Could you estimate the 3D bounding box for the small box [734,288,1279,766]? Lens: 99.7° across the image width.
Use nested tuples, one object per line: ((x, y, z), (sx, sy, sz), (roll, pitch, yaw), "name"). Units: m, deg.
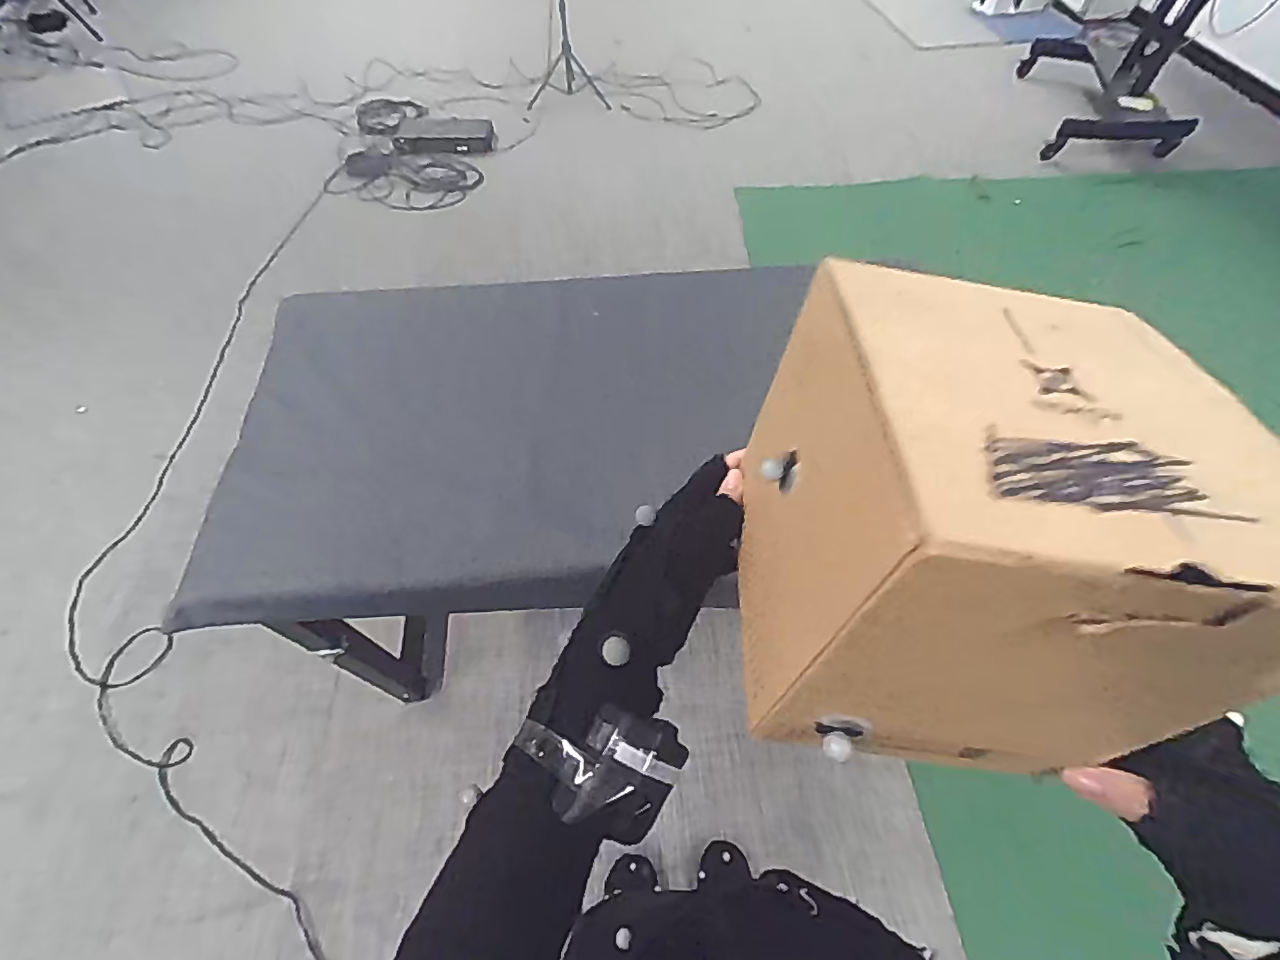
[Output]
((0.150, 0.030, 0.283), (0.168, 0.176, 0.179), (9, 47, -3), "small box")
